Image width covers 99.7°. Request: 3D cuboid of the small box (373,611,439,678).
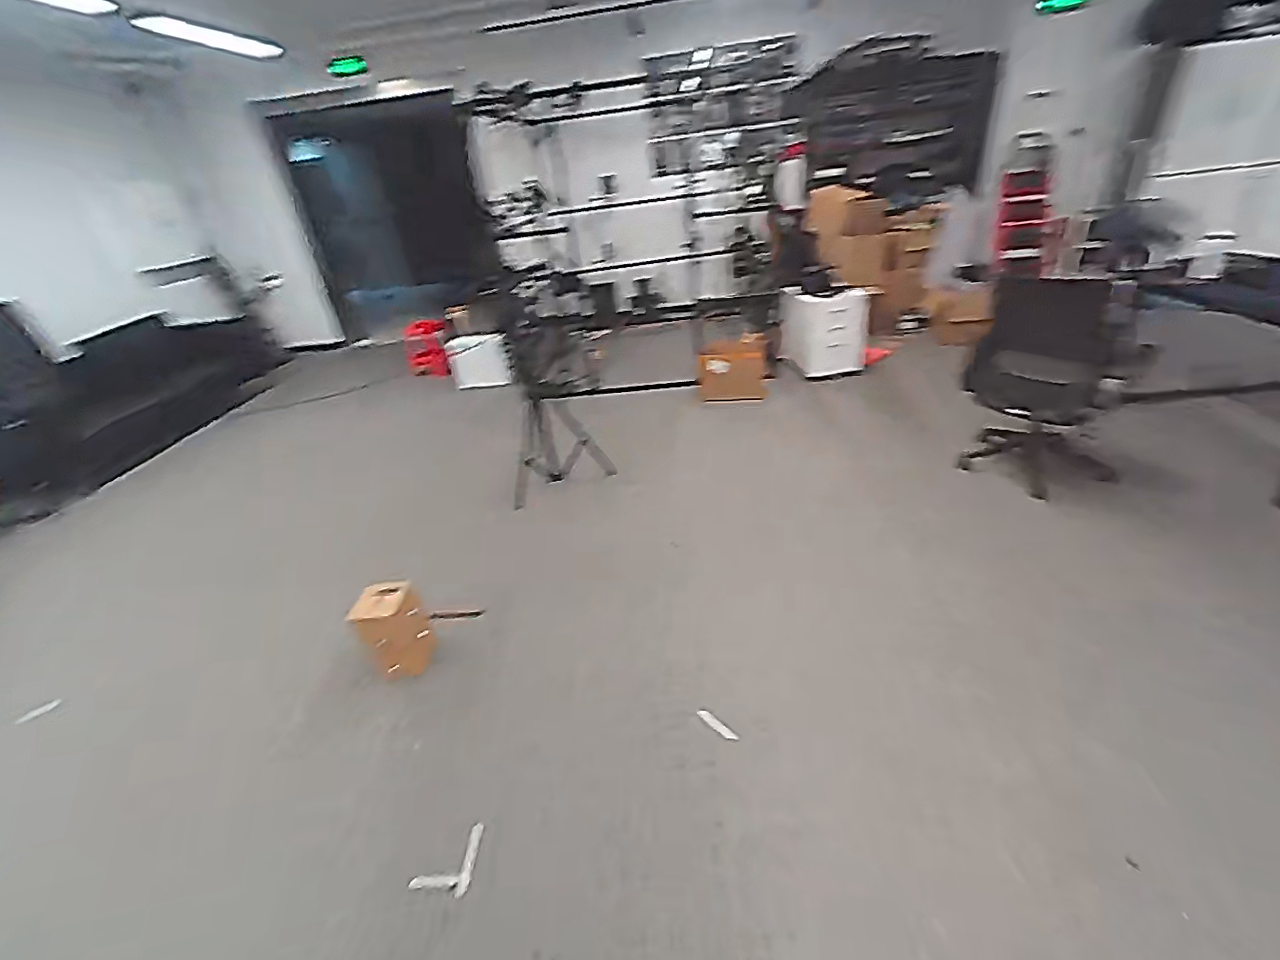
[{"bbox_3d":[-0.890,0.631,2.078,0.168,0.176,0.179,-7,30,2],"label":"small box"}]
